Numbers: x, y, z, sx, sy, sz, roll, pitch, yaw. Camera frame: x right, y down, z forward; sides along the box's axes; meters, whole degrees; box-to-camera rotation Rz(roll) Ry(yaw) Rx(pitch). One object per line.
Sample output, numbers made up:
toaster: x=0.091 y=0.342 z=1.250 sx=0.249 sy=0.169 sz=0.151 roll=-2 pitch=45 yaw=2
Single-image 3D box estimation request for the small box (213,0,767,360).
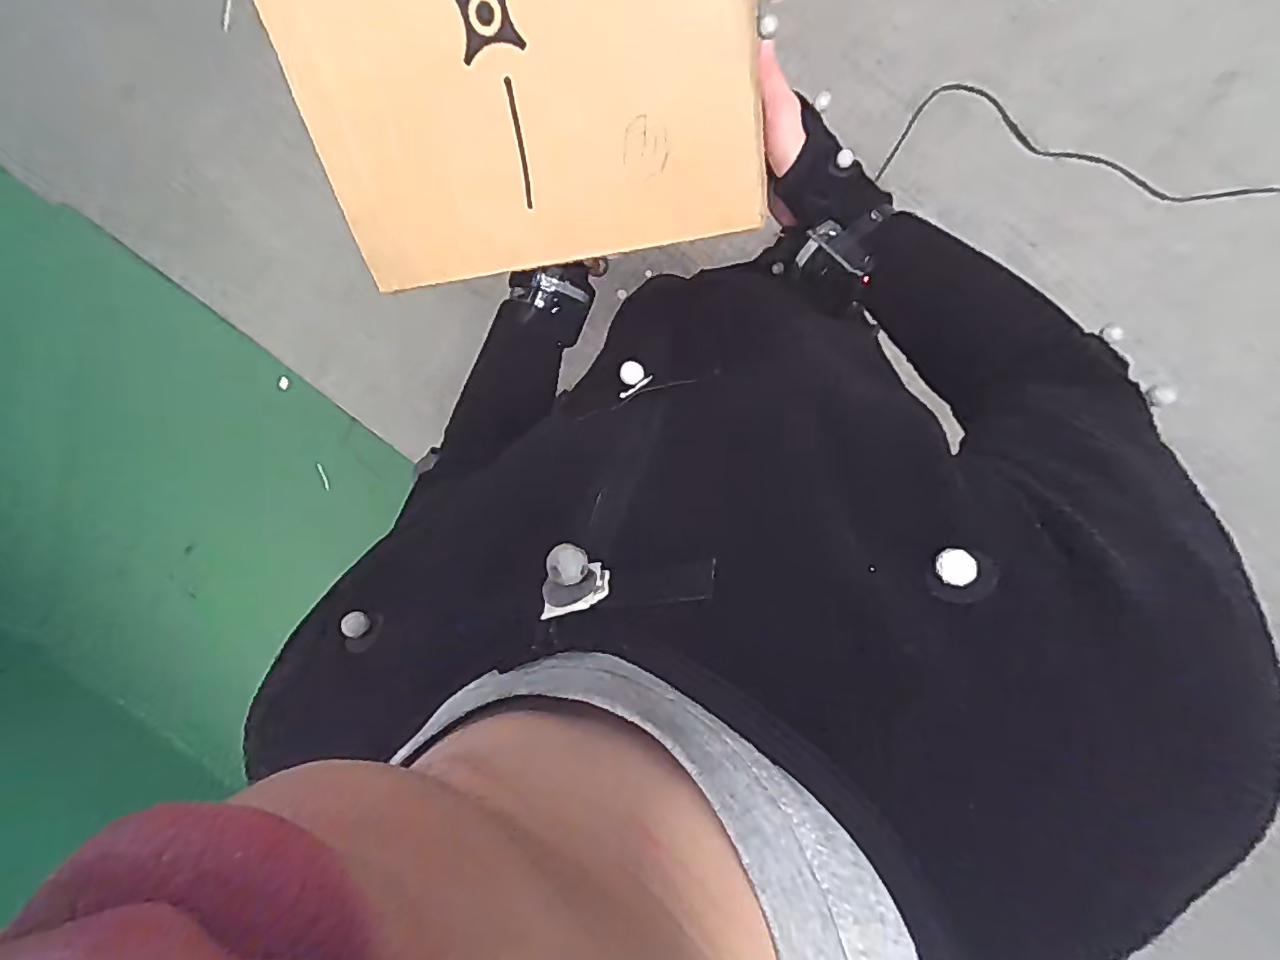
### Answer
small box: x=-0.034 y=-0.170 z=0.233 sx=0.168 sy=0.176 sz=0.179 roll=-3 pitch=123 yaw=15
